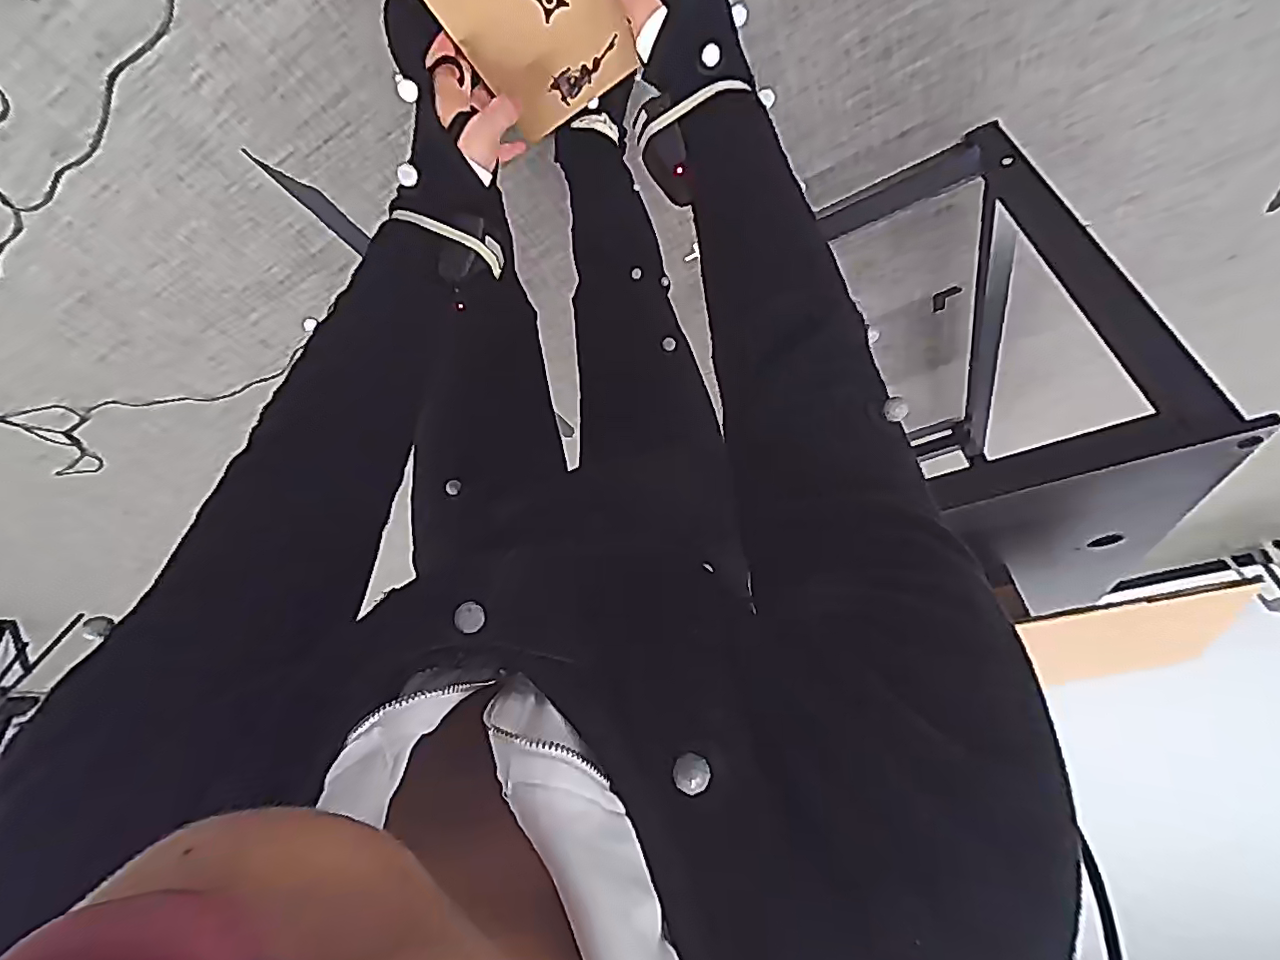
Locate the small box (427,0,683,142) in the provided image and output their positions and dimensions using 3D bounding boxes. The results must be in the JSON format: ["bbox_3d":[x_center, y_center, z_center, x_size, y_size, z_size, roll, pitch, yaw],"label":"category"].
[{"bbox_3d":[-0.084,-0.447,0.457,0.168,0.176,0.179,-22,146,22],"label":"small box"}]
